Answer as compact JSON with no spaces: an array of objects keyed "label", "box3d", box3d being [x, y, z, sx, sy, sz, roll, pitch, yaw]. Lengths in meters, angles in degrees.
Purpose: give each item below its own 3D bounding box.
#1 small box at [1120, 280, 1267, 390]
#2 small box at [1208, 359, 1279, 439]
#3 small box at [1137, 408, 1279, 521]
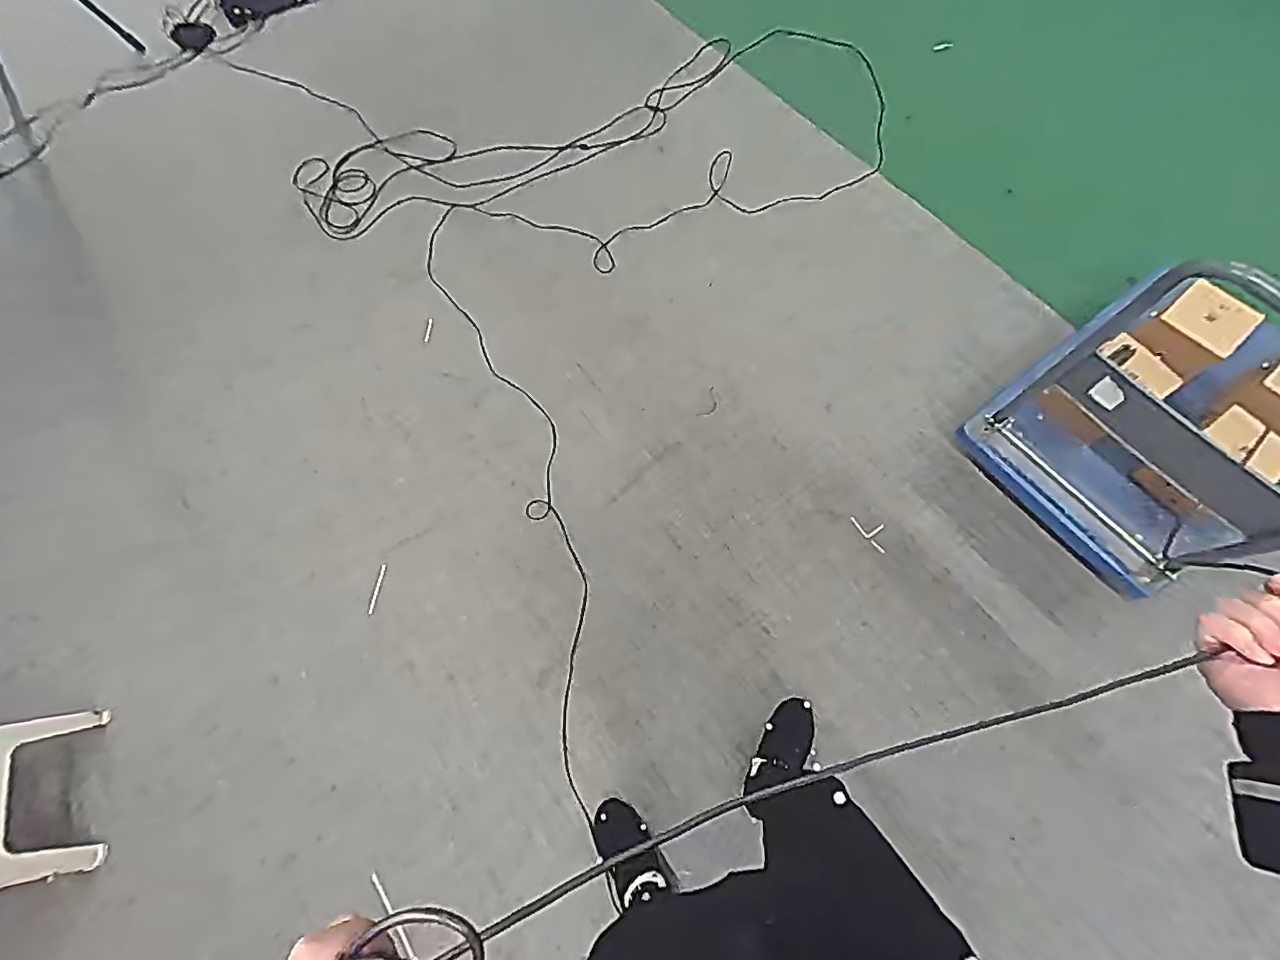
[{"label":"small box","box3d":[1.395,-0.363,1.382,0.179,0.176,0.168,-39,72,-10]},{"label":"small box","box3d":[1.557,-0.187,1.304,0.179,0.176,0.168,-39,71,-9]},{"label":"small box","box3d":[1.340,-0.032,1.264,0.179,0.176,0.168,-35,71,-7]}]
